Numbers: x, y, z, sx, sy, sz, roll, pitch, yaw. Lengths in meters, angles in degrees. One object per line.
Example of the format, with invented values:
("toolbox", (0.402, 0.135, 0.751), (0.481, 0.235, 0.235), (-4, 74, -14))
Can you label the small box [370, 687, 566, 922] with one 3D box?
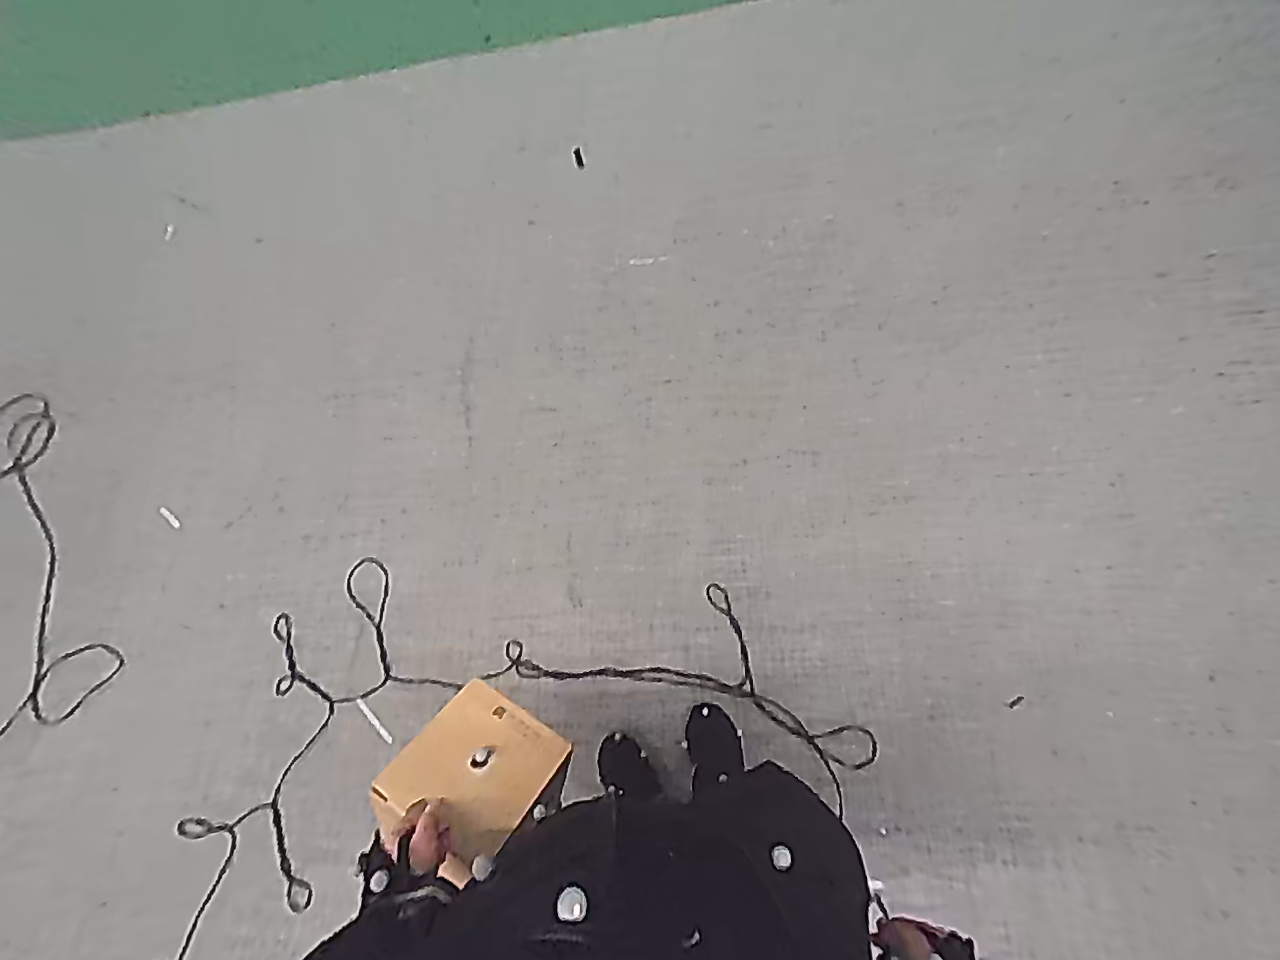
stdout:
("small box", (-0.212, 0.406, 0.696), (0.168, 0.179, 0.176), (27, 39, 16))
